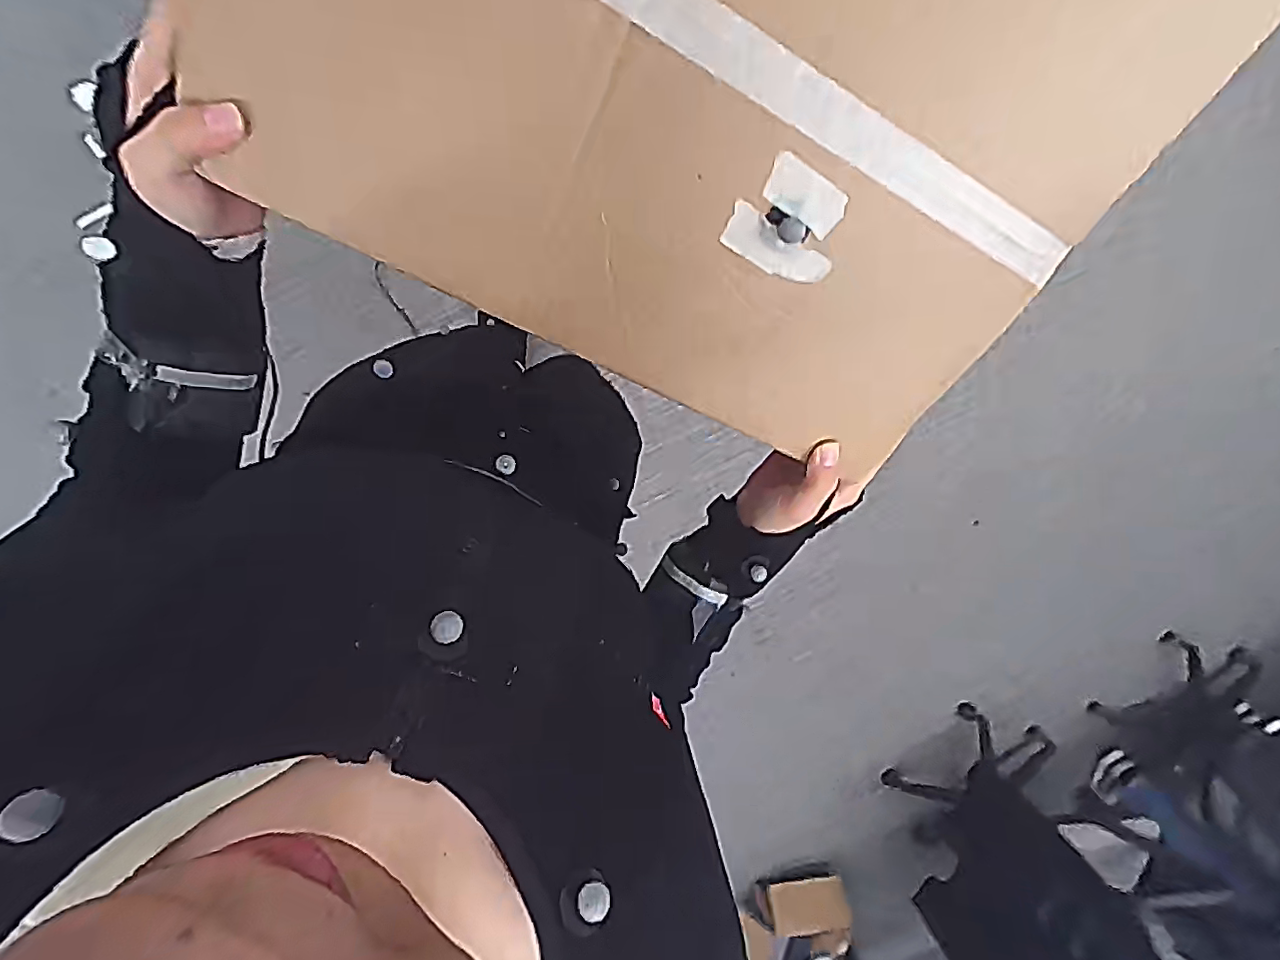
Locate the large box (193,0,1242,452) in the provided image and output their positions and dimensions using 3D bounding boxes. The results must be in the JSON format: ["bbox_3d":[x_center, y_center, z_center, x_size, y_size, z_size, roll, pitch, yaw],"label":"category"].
[{"bbox_3d":[0.027,-0.281,0.352,0.408,0.320,0.320,21,124,-16],"label":"large box"}]
